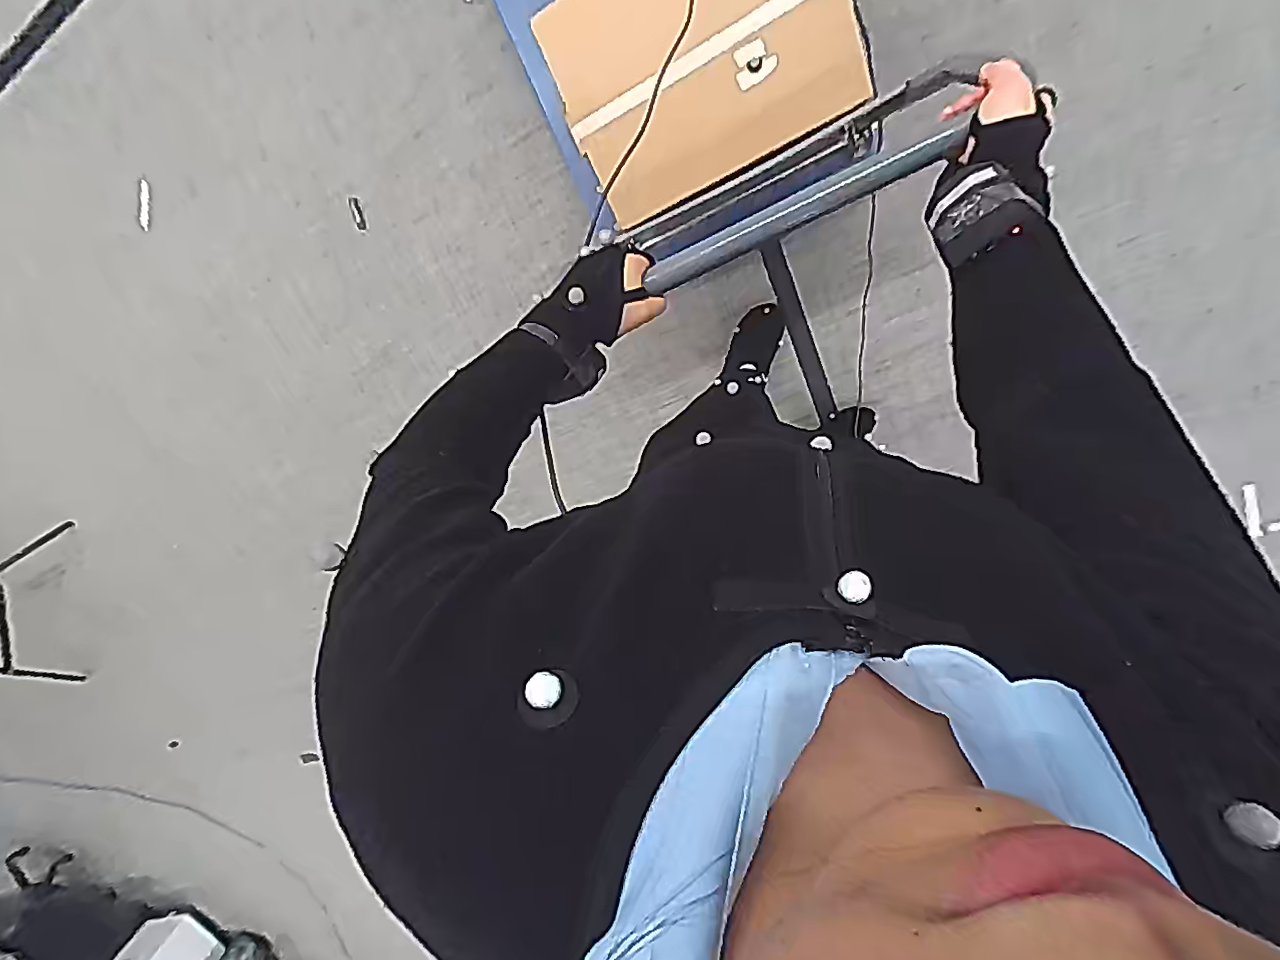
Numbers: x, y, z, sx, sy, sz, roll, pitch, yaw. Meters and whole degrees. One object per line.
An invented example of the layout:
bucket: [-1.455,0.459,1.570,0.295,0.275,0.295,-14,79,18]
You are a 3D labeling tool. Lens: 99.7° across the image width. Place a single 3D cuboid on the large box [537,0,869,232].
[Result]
large box: [0.107,-0.665,0.914,0.408,0.320,0.320,-21,110,17]
